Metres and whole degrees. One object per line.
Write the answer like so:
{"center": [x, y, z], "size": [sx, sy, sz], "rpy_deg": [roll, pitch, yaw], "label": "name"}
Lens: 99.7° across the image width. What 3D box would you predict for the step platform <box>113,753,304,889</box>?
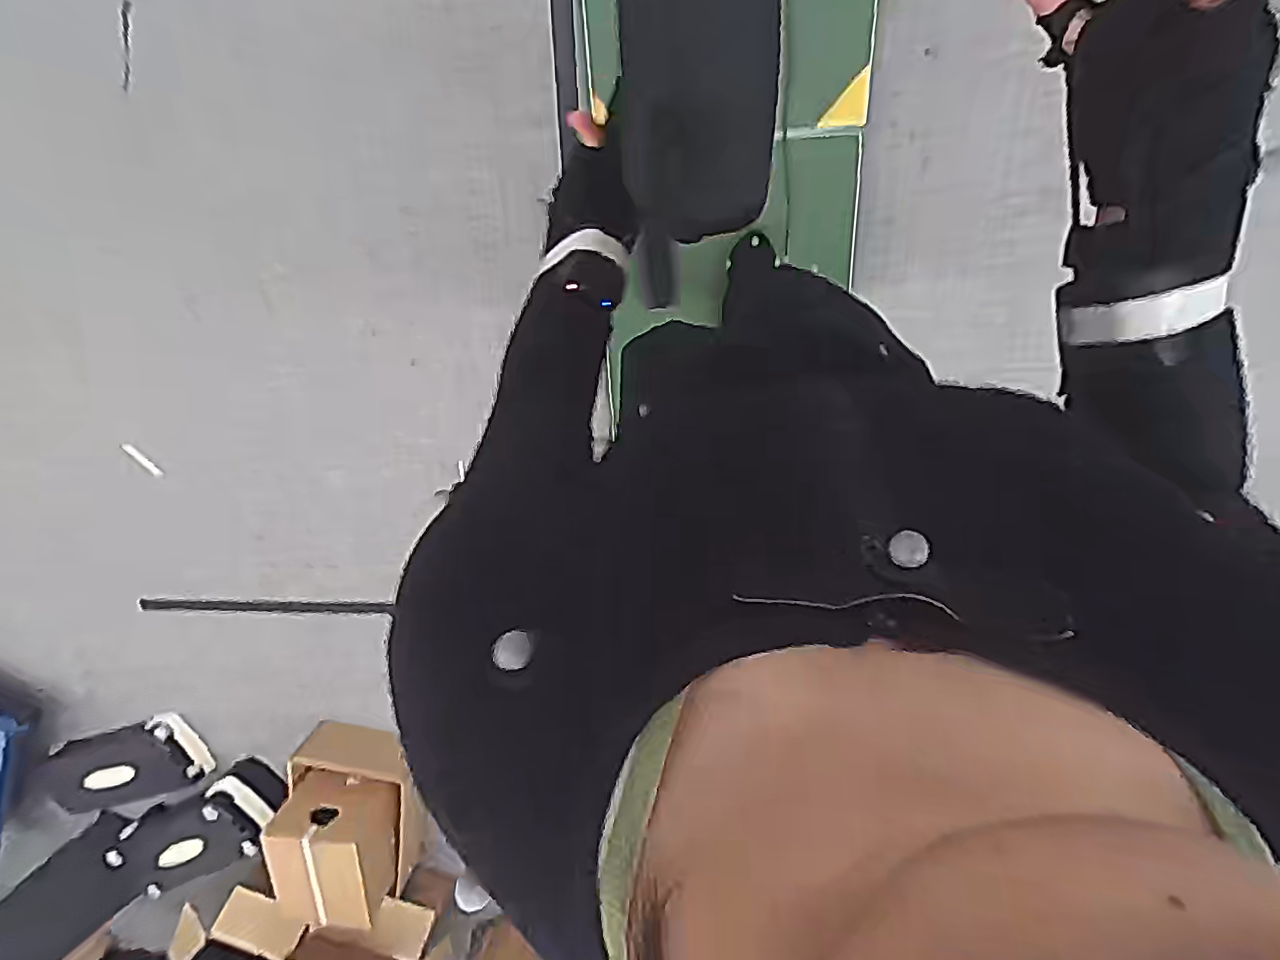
{"center": [-1.667, 1.321, 2.087], "size": [0.684, 0.204, 0.286], "rpy_deg": [-29, 105, 14], "label": "step platform"}
